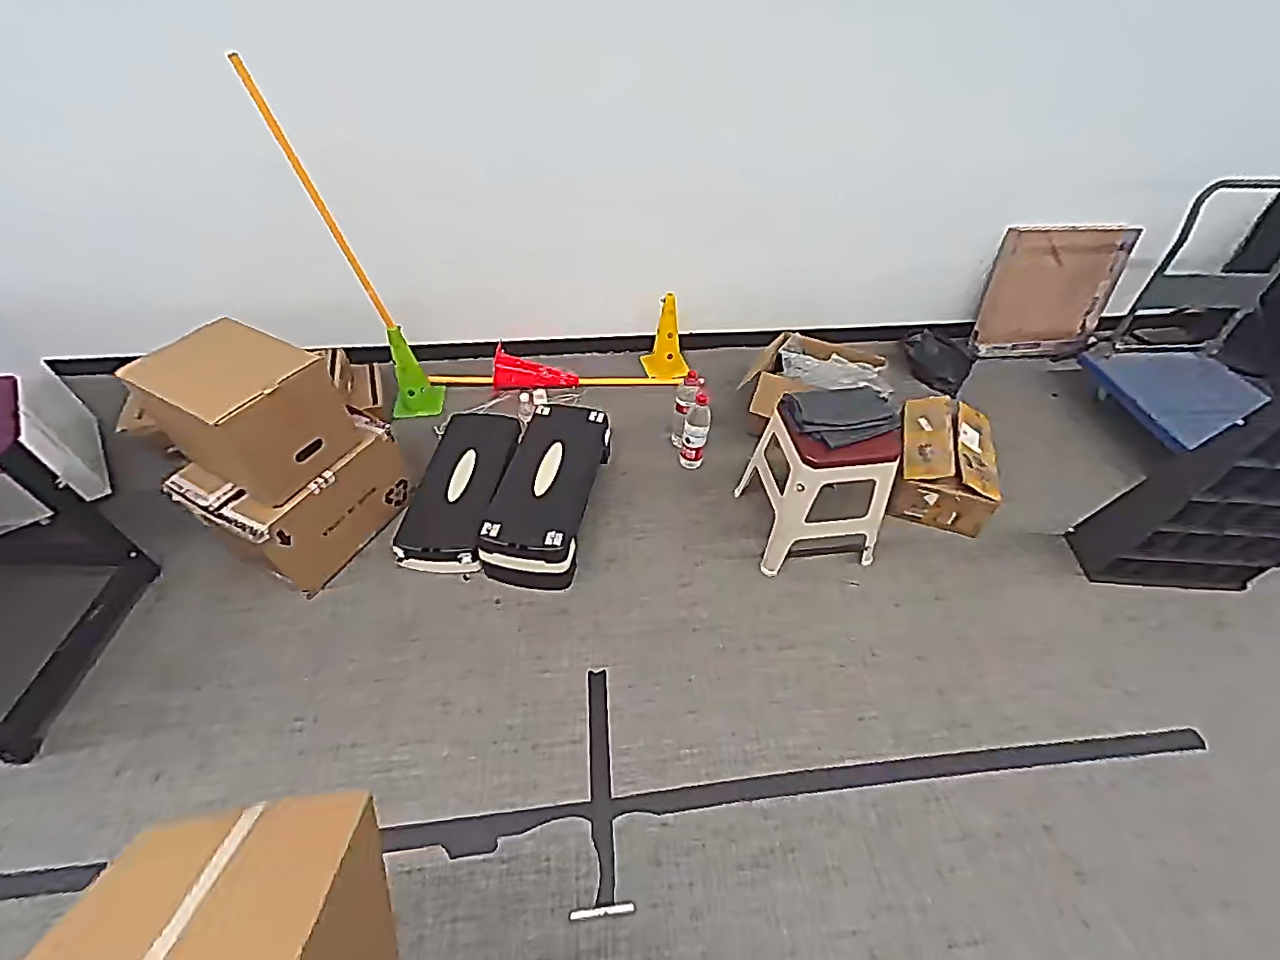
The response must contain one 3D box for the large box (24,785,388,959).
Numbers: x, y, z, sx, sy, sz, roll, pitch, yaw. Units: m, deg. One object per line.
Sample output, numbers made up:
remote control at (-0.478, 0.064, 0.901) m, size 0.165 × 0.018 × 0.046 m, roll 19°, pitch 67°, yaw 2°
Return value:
large box at (-0.529, 0.667, 0.654) m, size 0.320 × 0.320 × 0.408 m, roll -5°, pitch 12°, yaw -10°
